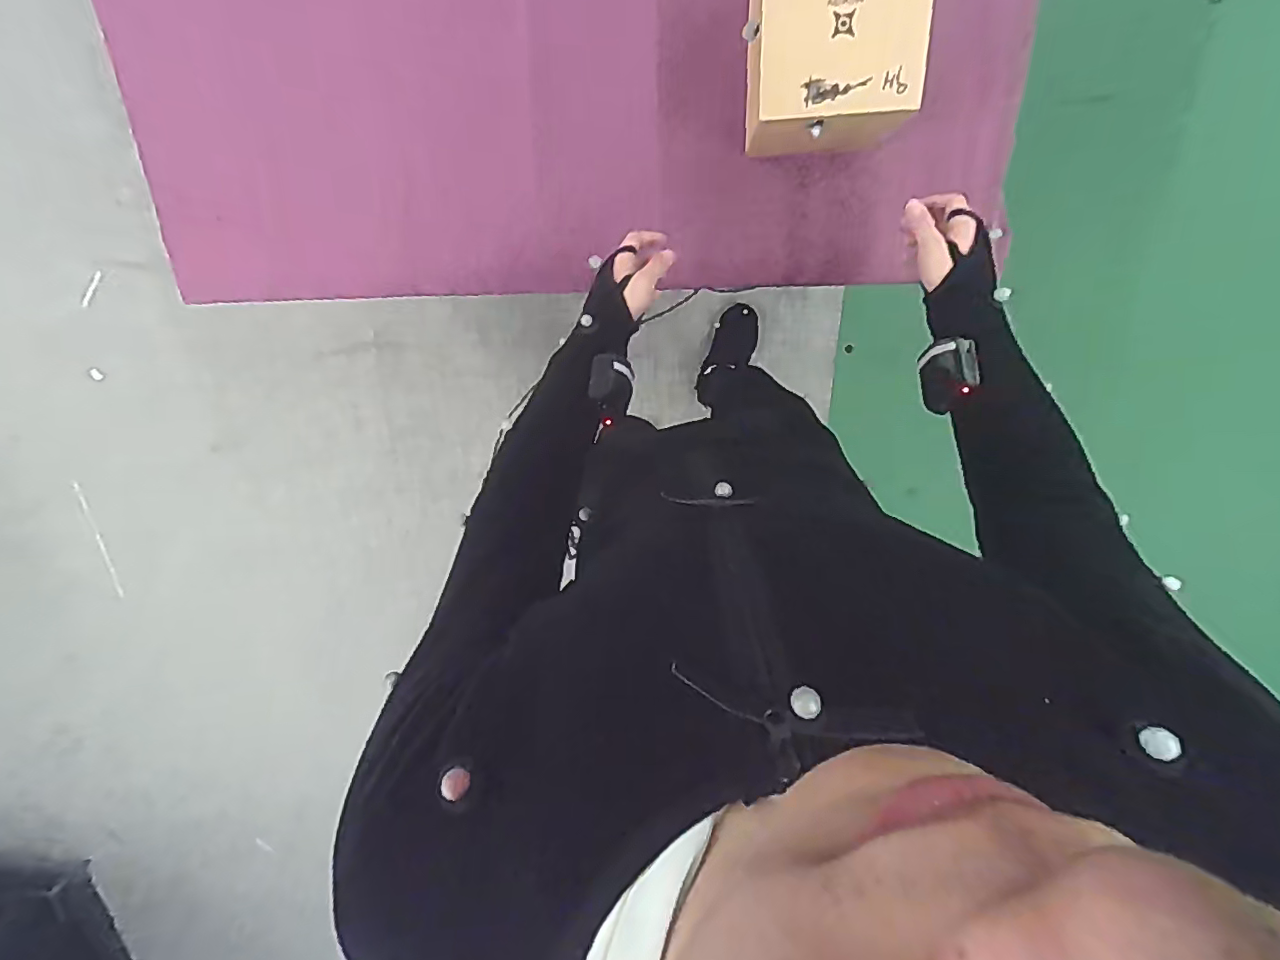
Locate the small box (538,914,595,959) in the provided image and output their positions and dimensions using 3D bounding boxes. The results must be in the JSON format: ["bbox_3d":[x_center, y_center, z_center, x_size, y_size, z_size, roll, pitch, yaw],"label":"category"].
[{"bbox_3d":[-0.249,1.620,1.838,0.168,0.176,0.179,-1,111,6],"label":"small box"}]

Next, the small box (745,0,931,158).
[{"bbox_3d":[0.208,-0.483,0.605,0.168,0.176,0.179,0,109,7],"label":"small box"}]
